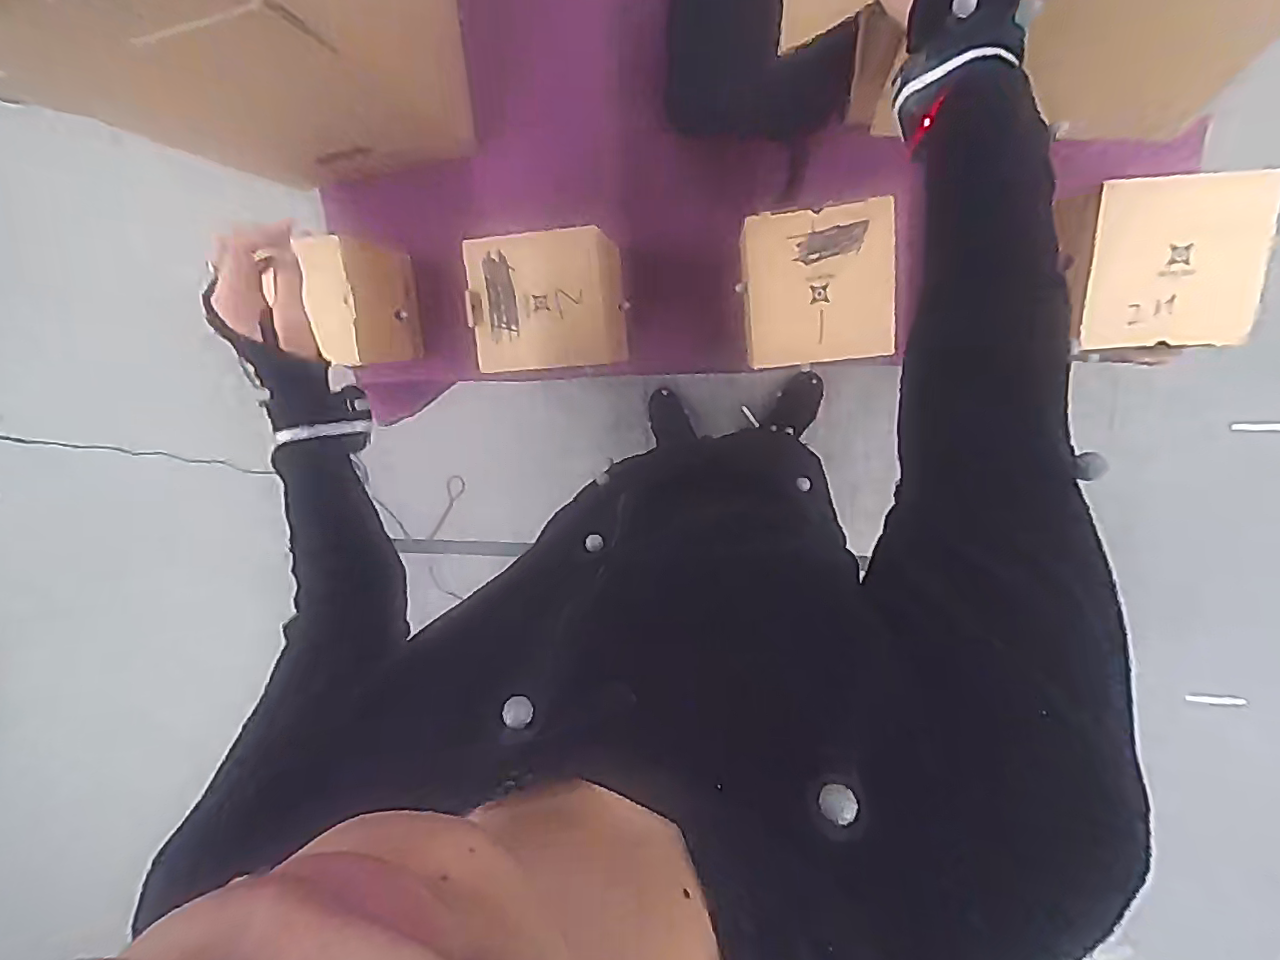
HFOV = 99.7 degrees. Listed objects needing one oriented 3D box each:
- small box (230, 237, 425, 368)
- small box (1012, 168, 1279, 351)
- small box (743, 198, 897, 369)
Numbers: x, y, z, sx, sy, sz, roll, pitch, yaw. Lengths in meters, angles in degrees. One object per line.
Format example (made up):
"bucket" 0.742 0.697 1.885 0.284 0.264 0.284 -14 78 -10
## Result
"small box" -0.453 -0.254 0.809 0.179 0.176 0.168 -1 104 8
"small box" 0.579 -0.246 0.646 0.168 0.176 0.179 1 104 10
"small box" 0.224 -0.243 0.705 0.168 0.176 0.179 -3 105 11
